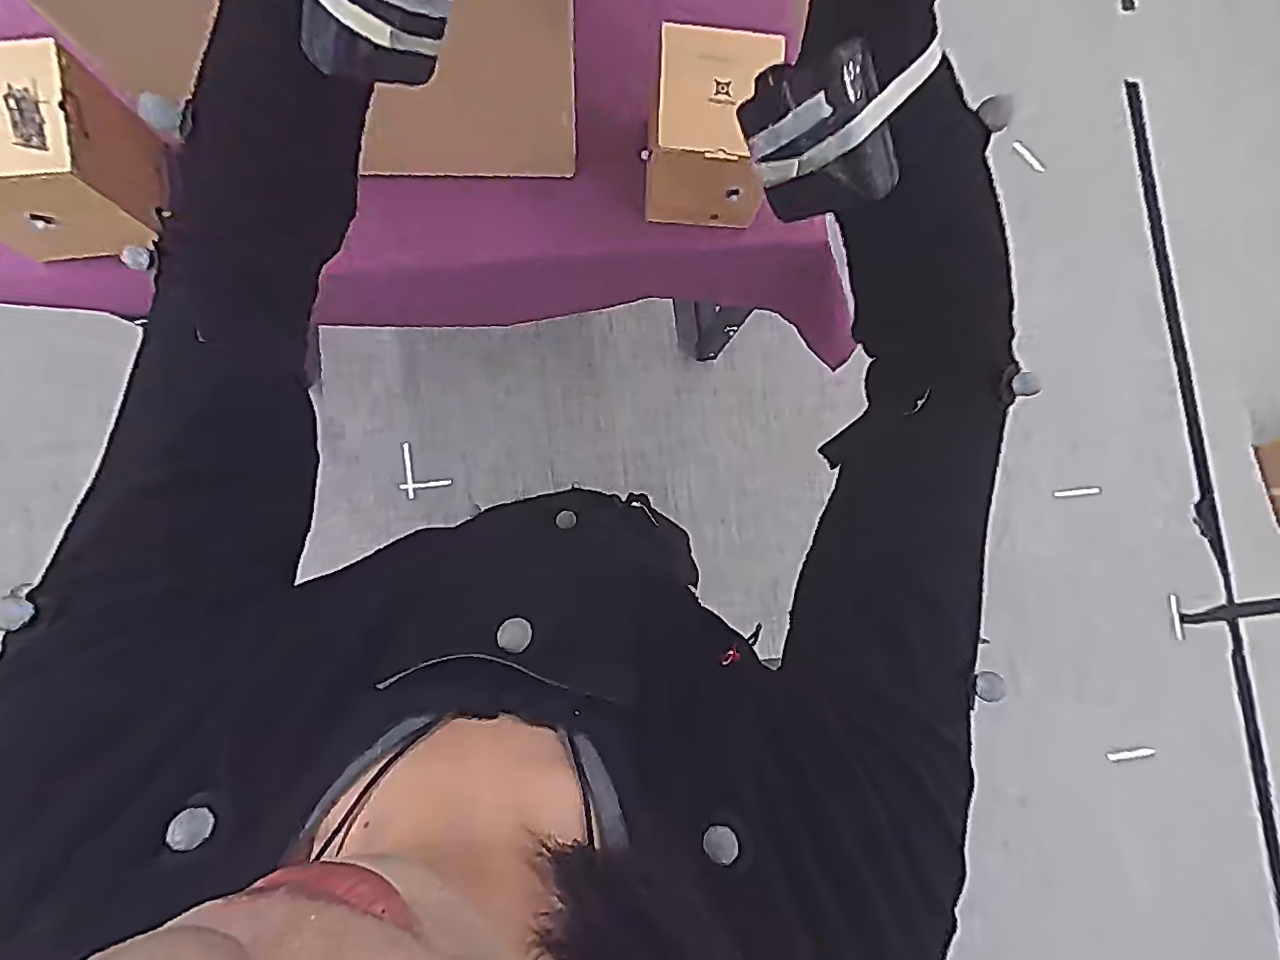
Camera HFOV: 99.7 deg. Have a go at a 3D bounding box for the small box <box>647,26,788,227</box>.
[{"bbox_3d":[0.103,-0.491,0.778,0.168,0.176,0.179,2,84,-6],"label":"small box"}]

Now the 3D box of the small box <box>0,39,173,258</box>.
[{"bbox_3d":[-0.737,-0.403,0.681,0.179,0.176,0.168,-10,85,-7],"label":"small box"}]
